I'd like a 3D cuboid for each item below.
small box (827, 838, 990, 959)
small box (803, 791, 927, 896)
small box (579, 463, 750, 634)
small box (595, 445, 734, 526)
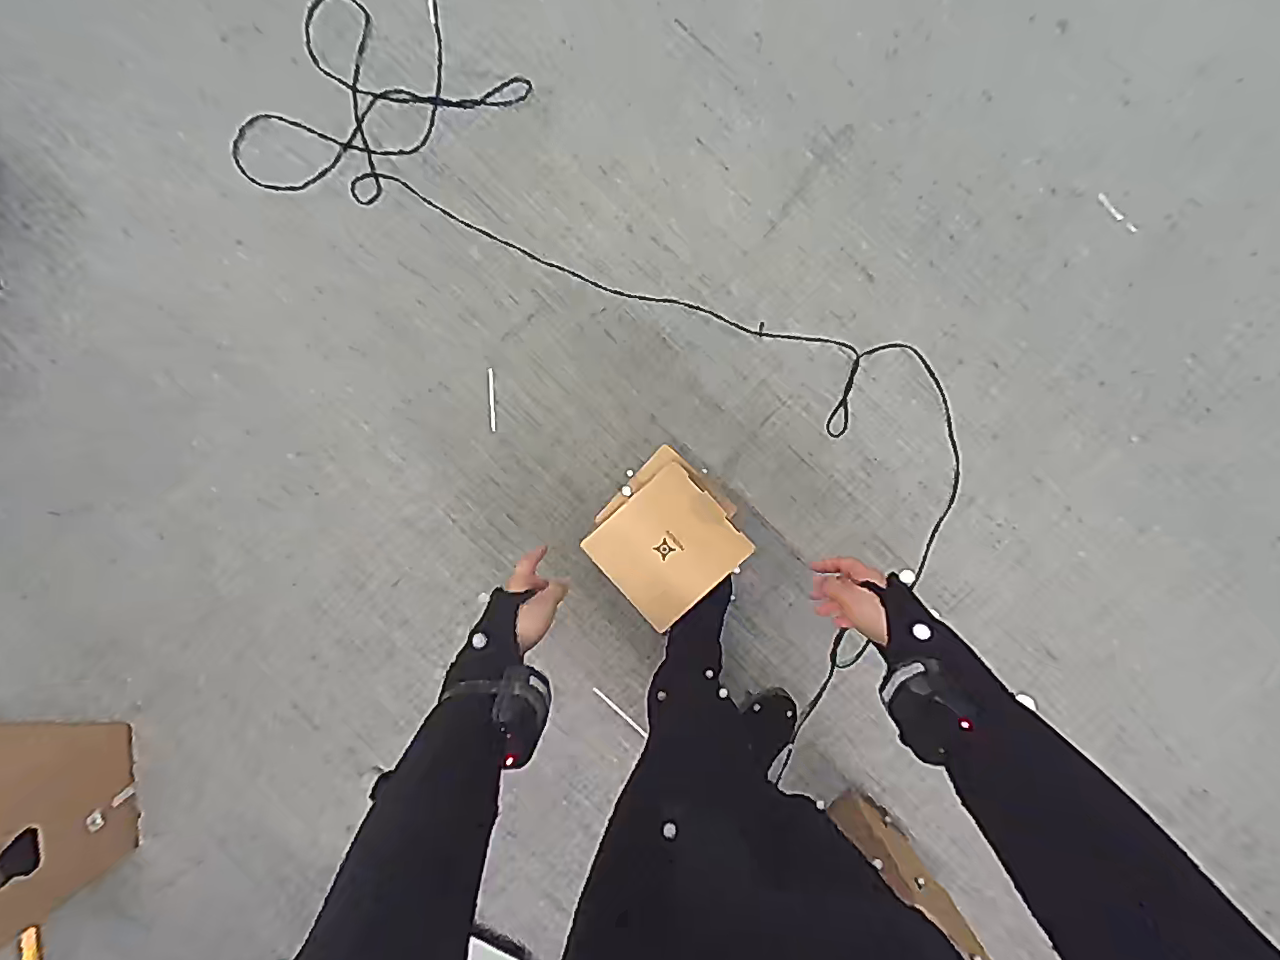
[{"bbox_3d":[0.476,0.807,0.991,0.179,0.176,0.168,39,95,-1],"label":"small box"},{"bbox_3d":[0.478,0.807,1.154,0.179,0.176,0.168,42,94,0],"label":"small box"},{"bbox_3d":[0.037,0.091,0.808,0.179,0.176,0.168,-43,90,3],"label":"small box"},{"bbox_3d":[0.044,0.057,0.969,0.168,0.176,0.179,42,93,0],"label":"small box"}]
